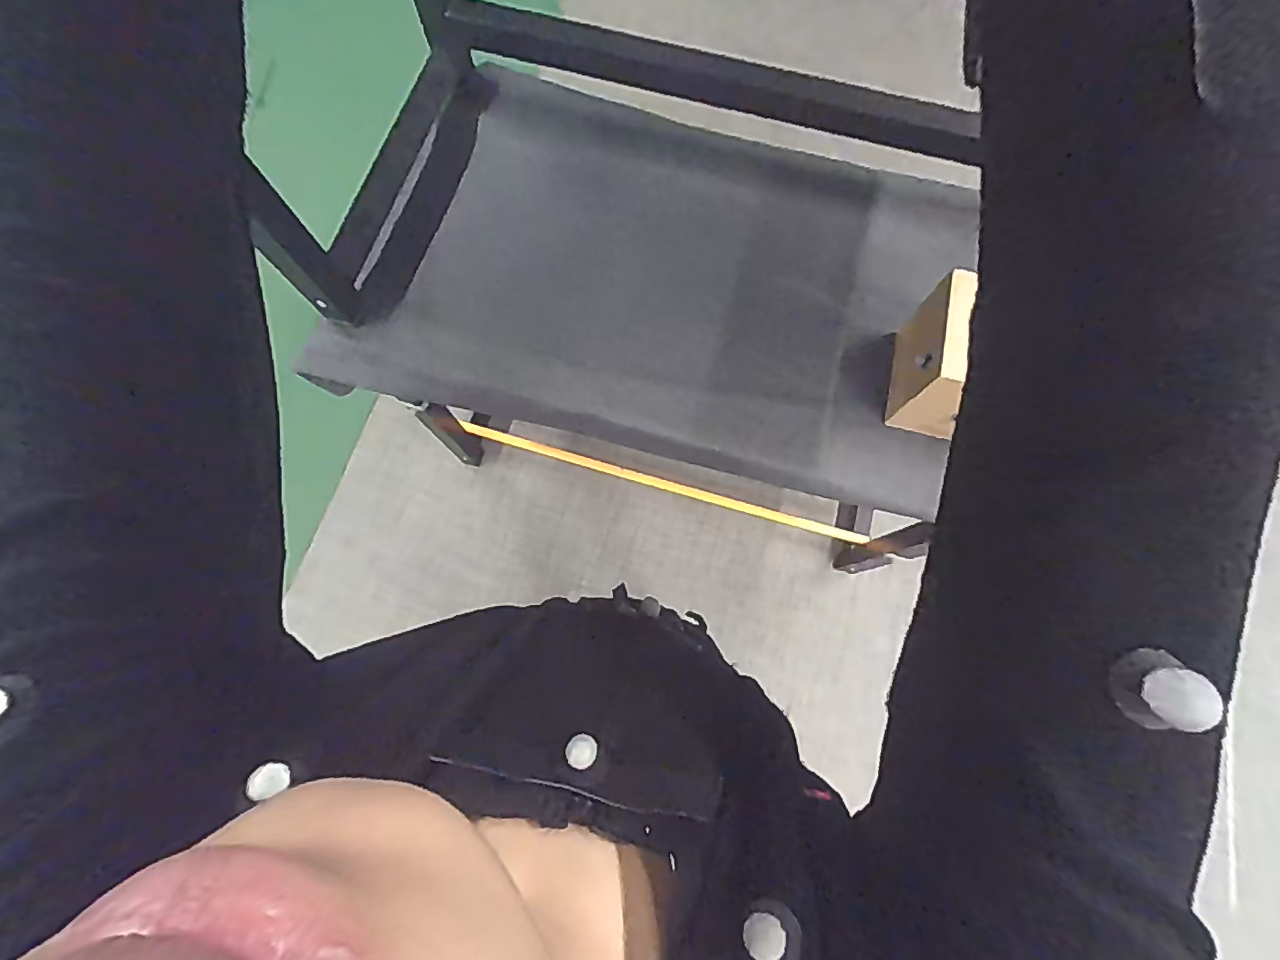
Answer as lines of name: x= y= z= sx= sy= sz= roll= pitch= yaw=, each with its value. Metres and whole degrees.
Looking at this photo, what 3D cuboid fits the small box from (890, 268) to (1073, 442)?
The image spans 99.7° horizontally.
small box: x=0.492 y=-0.174 z=0.801 sx=0.168 sy=0.176 sz=0.179 roll=14 pitch=74 yaw=3
